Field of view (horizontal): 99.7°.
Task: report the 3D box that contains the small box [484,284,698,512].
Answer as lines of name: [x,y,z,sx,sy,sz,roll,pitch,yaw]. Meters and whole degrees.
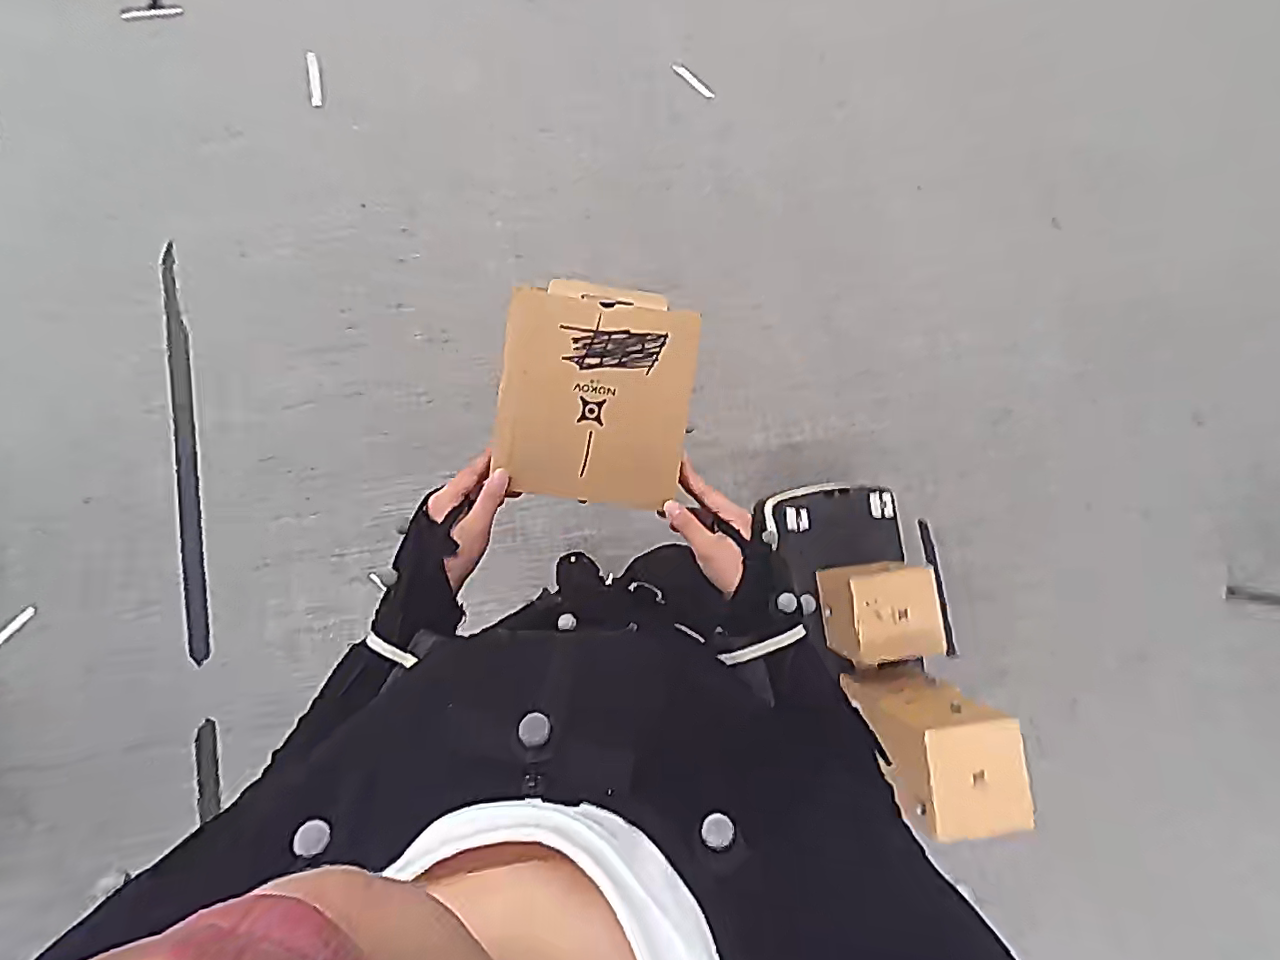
small box: [-0.045,-0.074,0.540,0.168,0.176,0.179,8,94,-2]

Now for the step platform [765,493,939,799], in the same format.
step platform: [0.509,0.374,1.293,0.286,0.204,0.684,-8,84,-5]

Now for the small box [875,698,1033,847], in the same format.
small box: [0.533,0.494,0.944,0.168,0.176,0.179,-5,85,-4]

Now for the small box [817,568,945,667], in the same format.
small box: [0.493,0.277,1.126,0.179,0.176,0.168,-6,85,-4]
